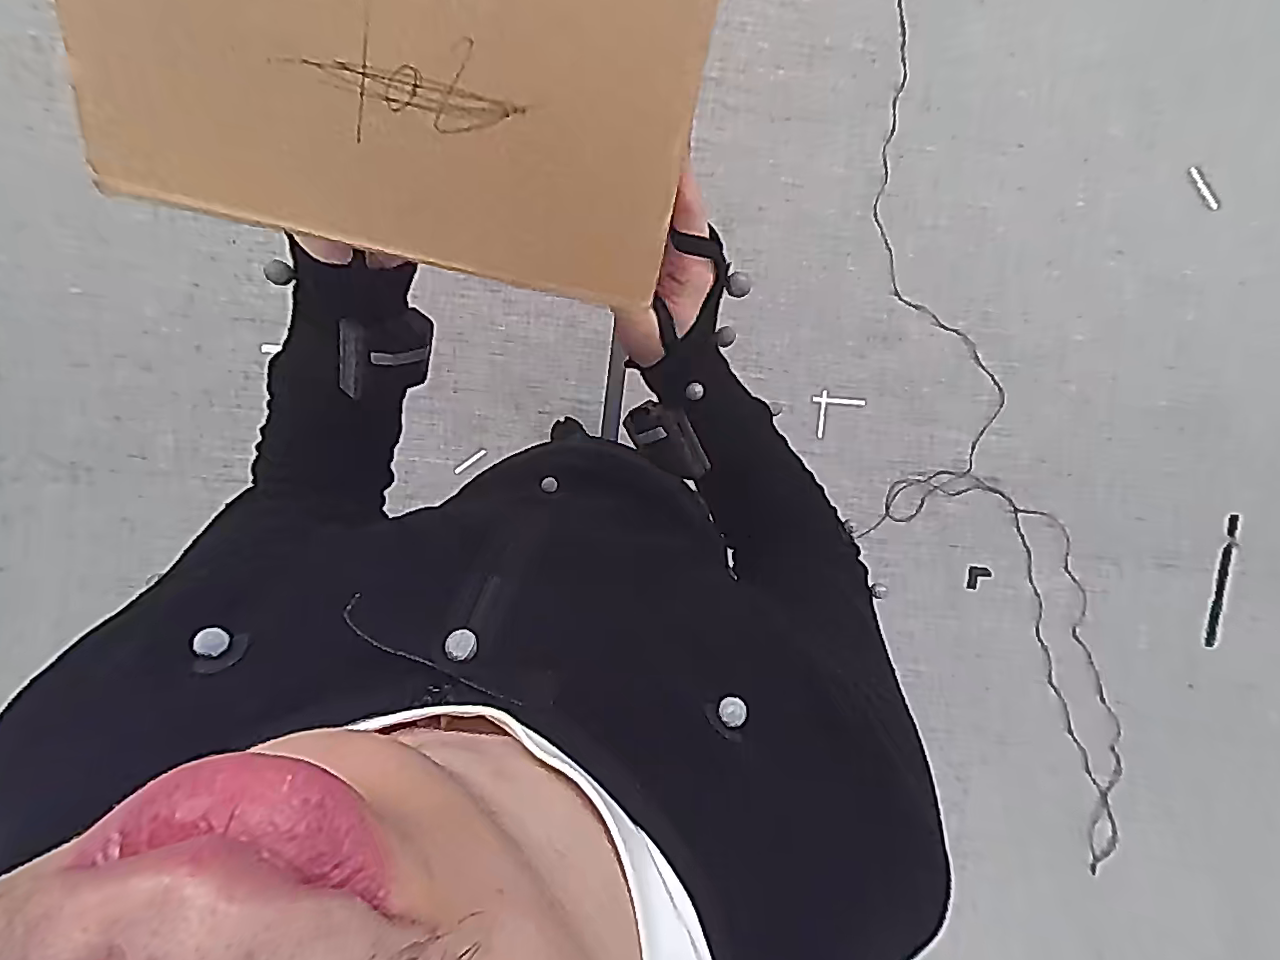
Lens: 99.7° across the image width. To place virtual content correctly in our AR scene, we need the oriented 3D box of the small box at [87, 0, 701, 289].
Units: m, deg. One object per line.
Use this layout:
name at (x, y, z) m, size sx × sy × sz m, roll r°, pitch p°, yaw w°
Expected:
small box at (-0.063, -0.188, 0.211) m, size 0.168 × 0.176 × 0.179 m, roll 8°, pitch 116°, yaw -4°
